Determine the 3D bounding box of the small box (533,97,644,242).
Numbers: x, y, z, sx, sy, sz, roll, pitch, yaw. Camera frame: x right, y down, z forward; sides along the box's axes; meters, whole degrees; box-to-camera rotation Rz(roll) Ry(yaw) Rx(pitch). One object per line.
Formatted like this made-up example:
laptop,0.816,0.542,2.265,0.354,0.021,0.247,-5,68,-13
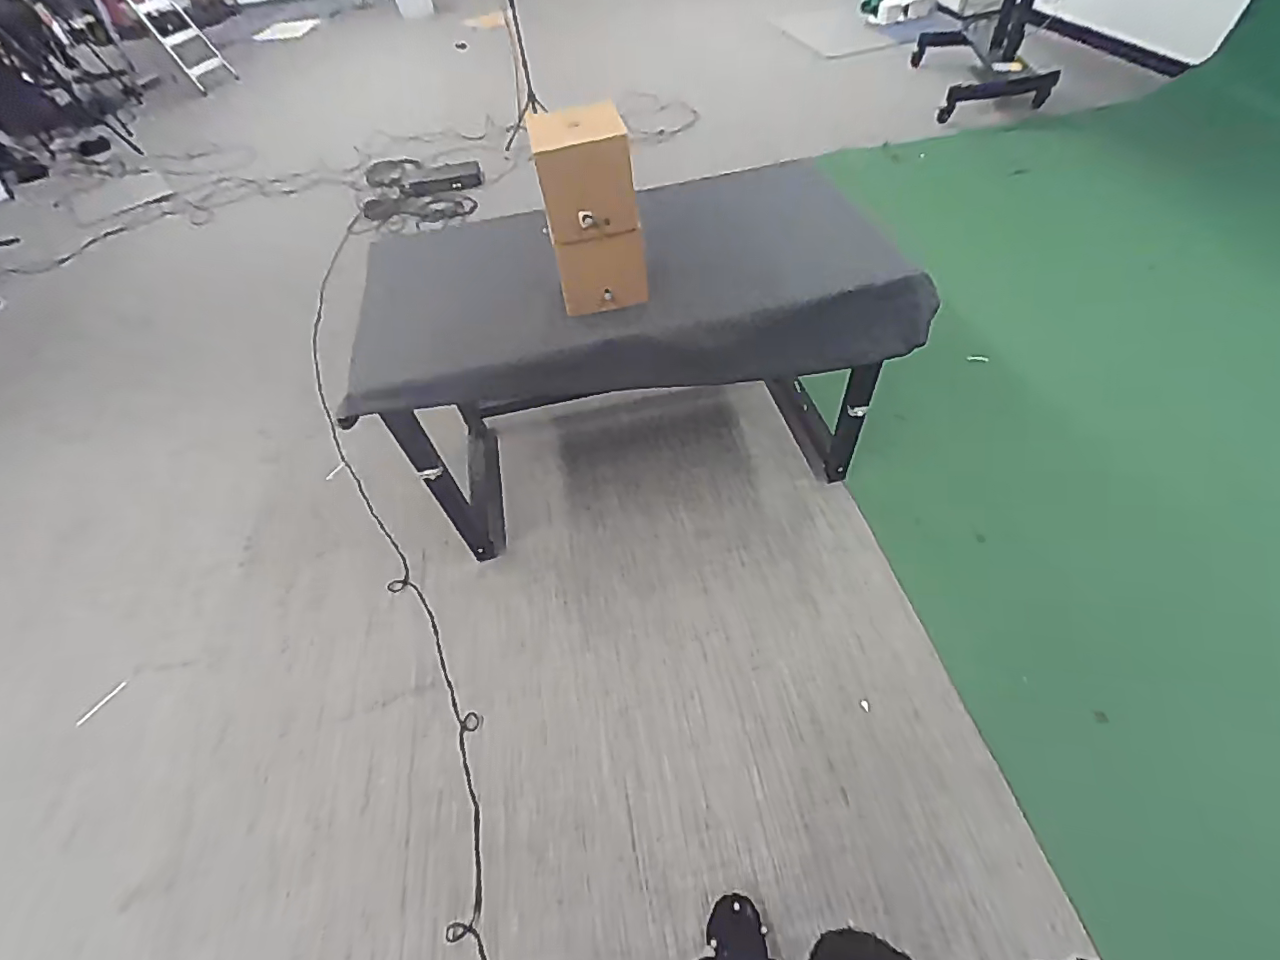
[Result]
small box,-0.094,-0.577,1.010,0.168,0.176,0.179,-14,53,-1

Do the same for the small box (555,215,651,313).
small box,-0.075,-0.479,1.139,0.179,0.176,0.168,-12,52,-2
